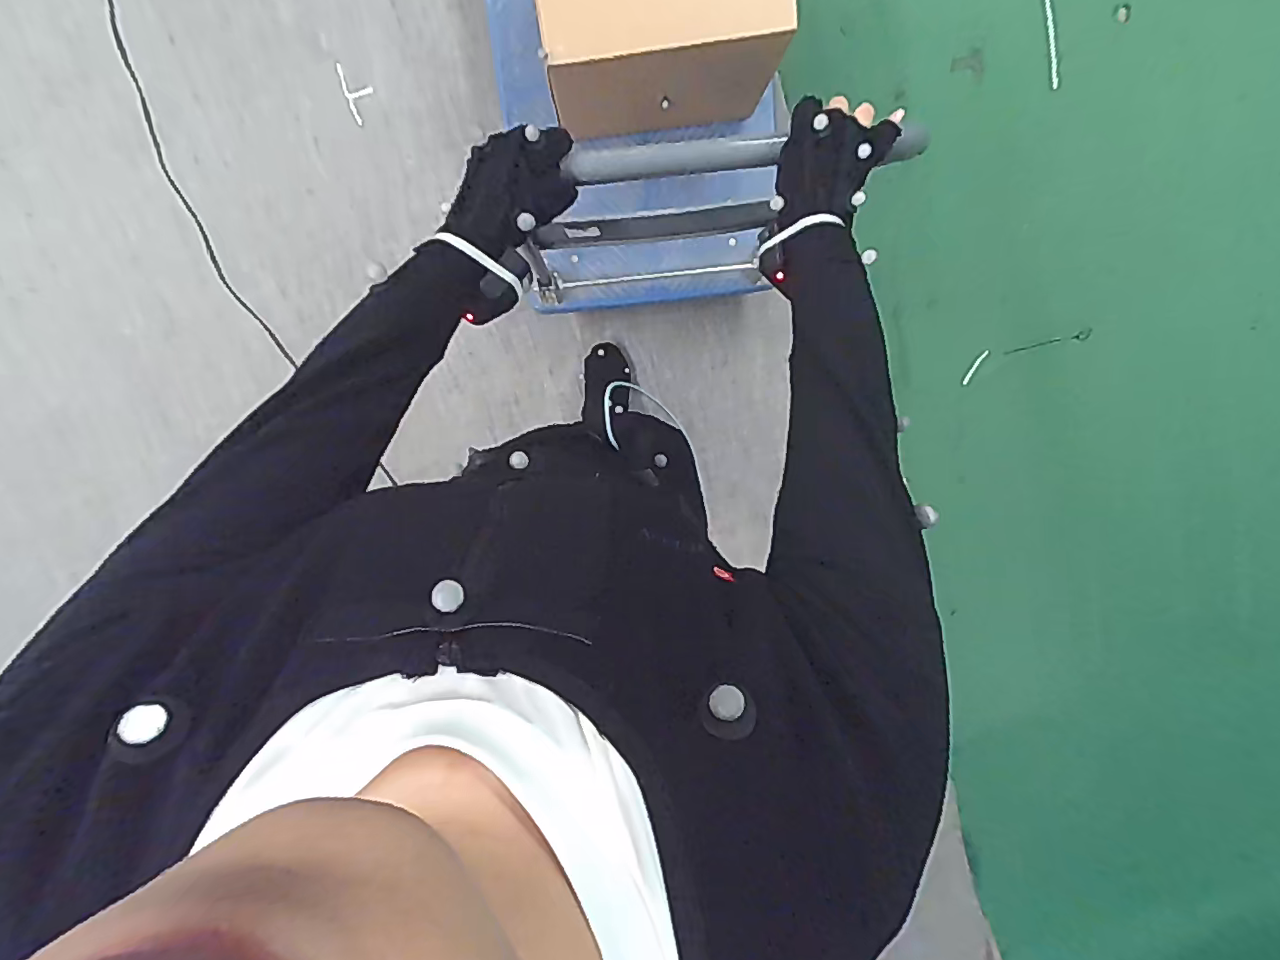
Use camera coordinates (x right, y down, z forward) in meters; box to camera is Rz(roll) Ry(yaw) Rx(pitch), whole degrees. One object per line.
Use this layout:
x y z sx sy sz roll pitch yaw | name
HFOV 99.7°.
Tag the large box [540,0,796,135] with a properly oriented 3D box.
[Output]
0.027 -0.875 0.974 0.408 0.320 0.320 -9 102 0 | large box
